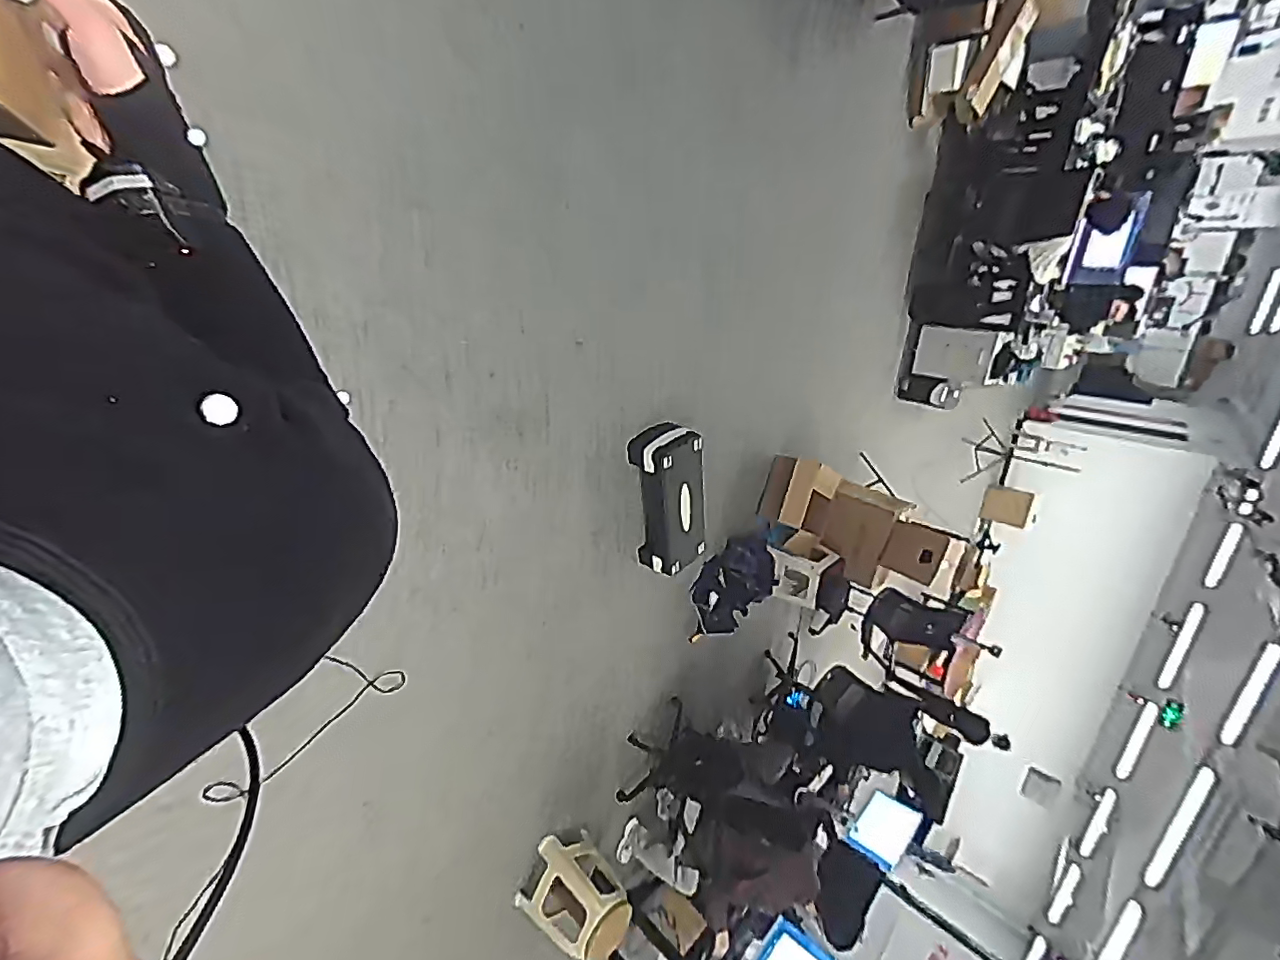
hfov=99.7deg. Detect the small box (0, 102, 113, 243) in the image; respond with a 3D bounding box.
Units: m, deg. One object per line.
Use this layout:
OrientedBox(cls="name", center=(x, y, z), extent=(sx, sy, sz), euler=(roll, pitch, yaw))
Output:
OrientedBox(cls="small box", center=(-1.058, -0.537, 0.956), extent=(0.168, 0.176, 0.179), euler=(0, 107, -48))
